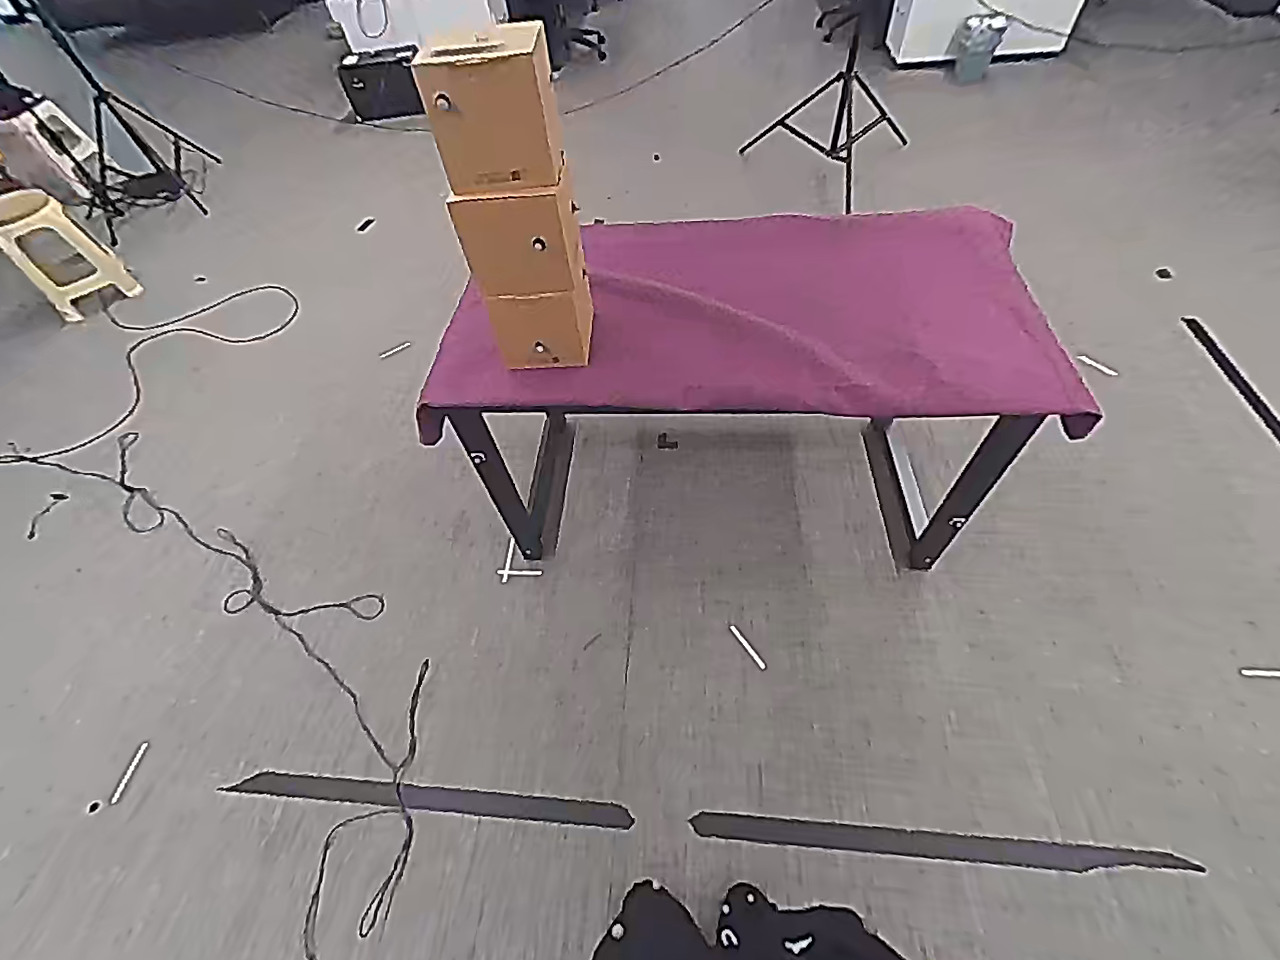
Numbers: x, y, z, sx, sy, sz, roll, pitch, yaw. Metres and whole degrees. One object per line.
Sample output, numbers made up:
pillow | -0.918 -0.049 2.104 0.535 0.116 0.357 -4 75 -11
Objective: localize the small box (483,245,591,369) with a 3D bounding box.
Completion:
small box | -0.192 -0.342 1.072 0.168 0.176 0.179 -2 54 5

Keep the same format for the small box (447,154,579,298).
small box | -0.207 -0.438 0.942 0.179 0.176 0.168 -3 52 4
